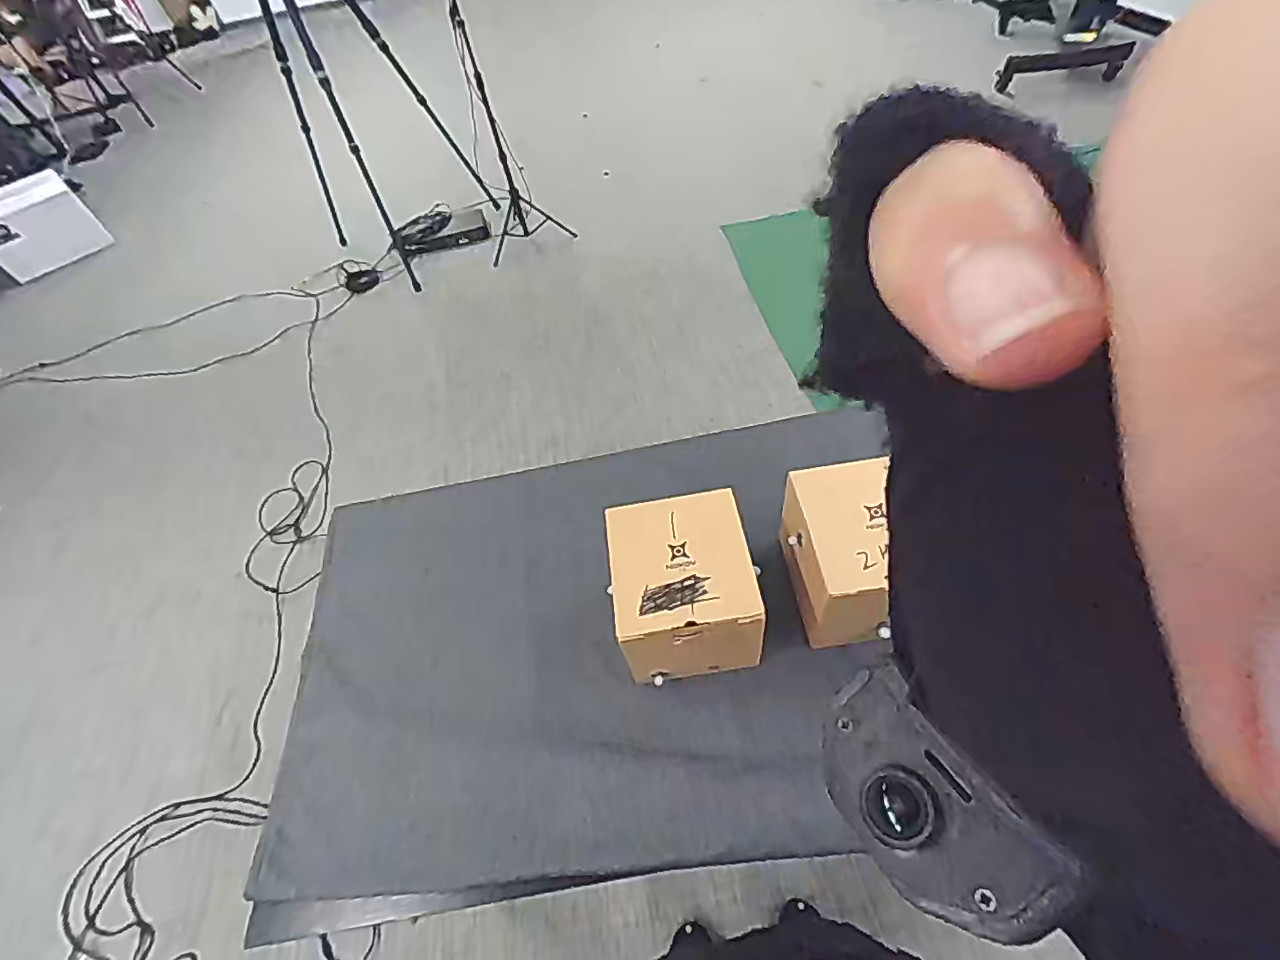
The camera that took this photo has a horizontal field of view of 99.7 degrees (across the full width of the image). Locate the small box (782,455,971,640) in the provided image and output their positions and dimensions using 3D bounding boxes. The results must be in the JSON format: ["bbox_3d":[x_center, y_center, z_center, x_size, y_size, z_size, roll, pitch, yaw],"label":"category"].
[{"bbox_3d":[0.284,0.092,0.701,0.168,0.176,0.179,-7,56,6],"label":"small box"}]

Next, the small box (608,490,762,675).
[{"bbox_3d":[0.058,0.140,0.701,0.168,0.176,0.179,-10,52,2],"label":"small box"}]
